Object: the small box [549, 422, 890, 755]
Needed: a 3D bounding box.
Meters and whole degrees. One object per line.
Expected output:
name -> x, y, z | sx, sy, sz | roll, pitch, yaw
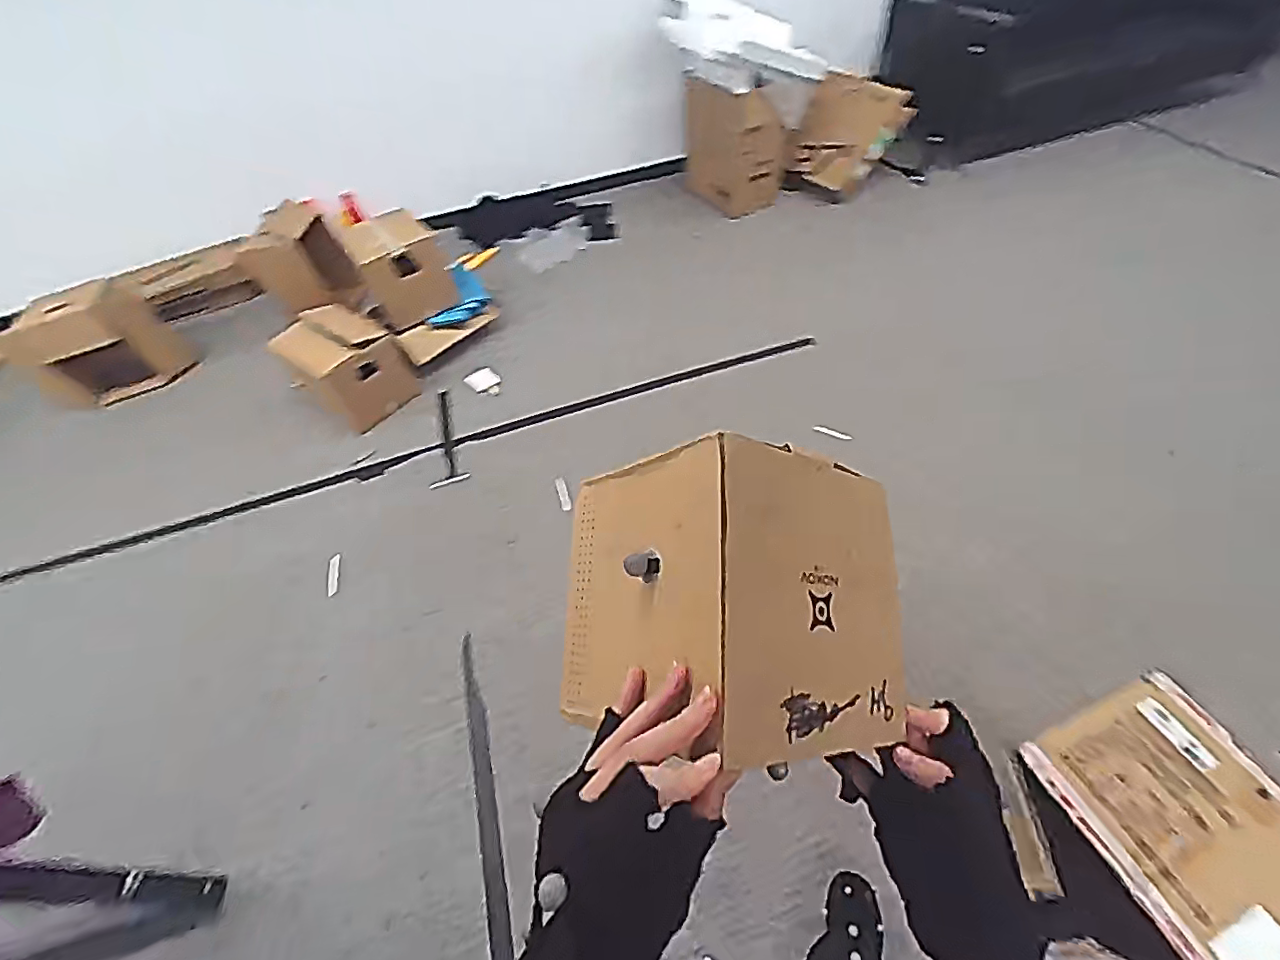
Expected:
small box -> 0.046, 0.082, 0.386 | 0.168, 0.176, 0.179 | 12, 70, -34
